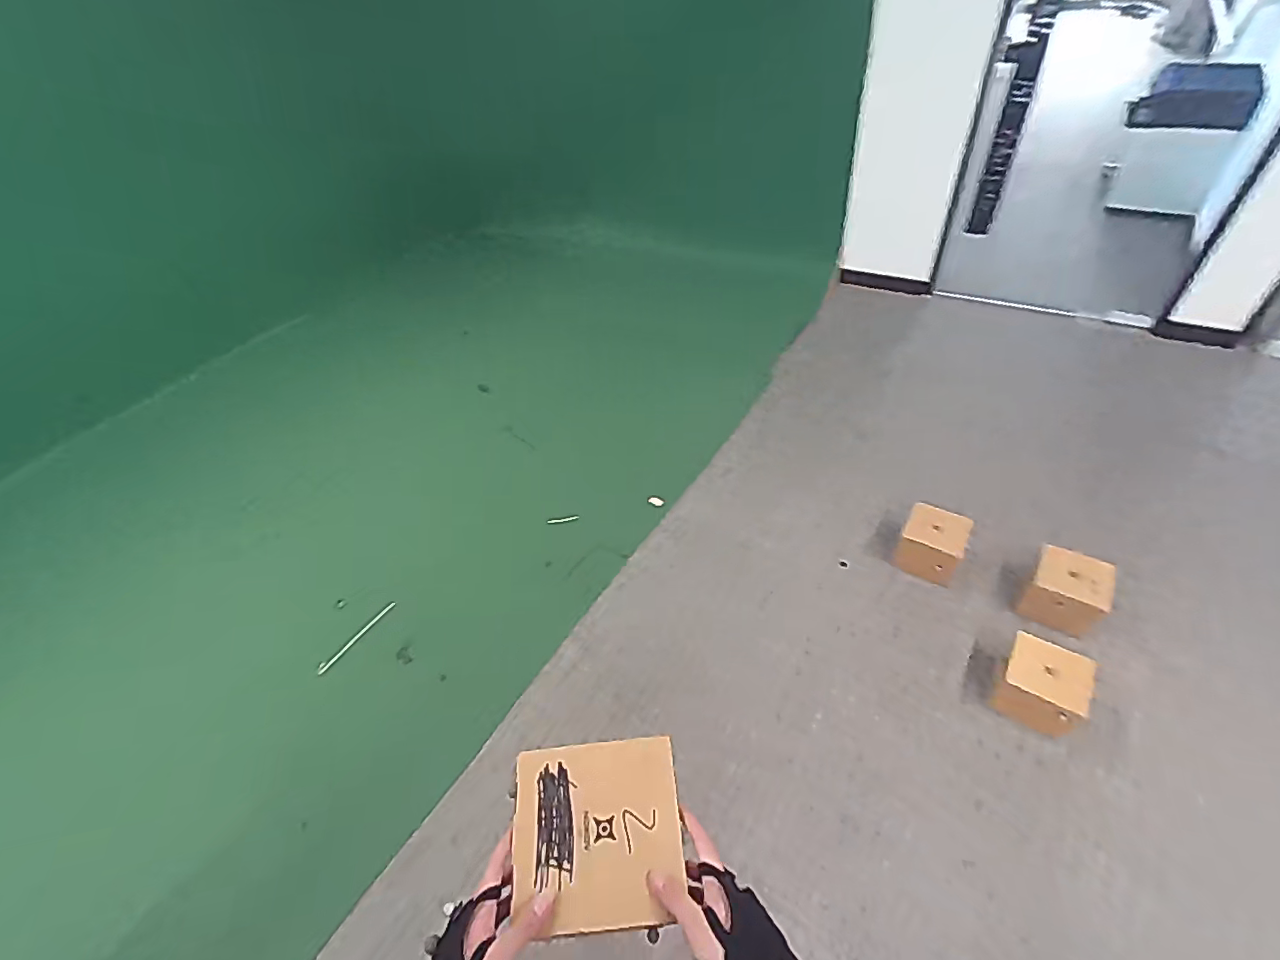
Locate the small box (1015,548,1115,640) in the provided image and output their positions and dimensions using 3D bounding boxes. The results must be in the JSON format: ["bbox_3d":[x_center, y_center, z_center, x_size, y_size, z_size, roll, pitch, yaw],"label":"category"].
[{"bbox_3d":[1.230,0.336,1.573,0.179,0.176,0.168,22,55,27],"label":"small box"}]

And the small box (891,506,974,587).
[{"bbox_3d":[0.935,0.219,1.739,0.179,0.176,0.168,23,54,28],"label":"small box"}]

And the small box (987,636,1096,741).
[{"bbox_3d":[1.041,0.547,1.413,0.179,0.176,0.168,22,54,27],"label":"small box"}]
